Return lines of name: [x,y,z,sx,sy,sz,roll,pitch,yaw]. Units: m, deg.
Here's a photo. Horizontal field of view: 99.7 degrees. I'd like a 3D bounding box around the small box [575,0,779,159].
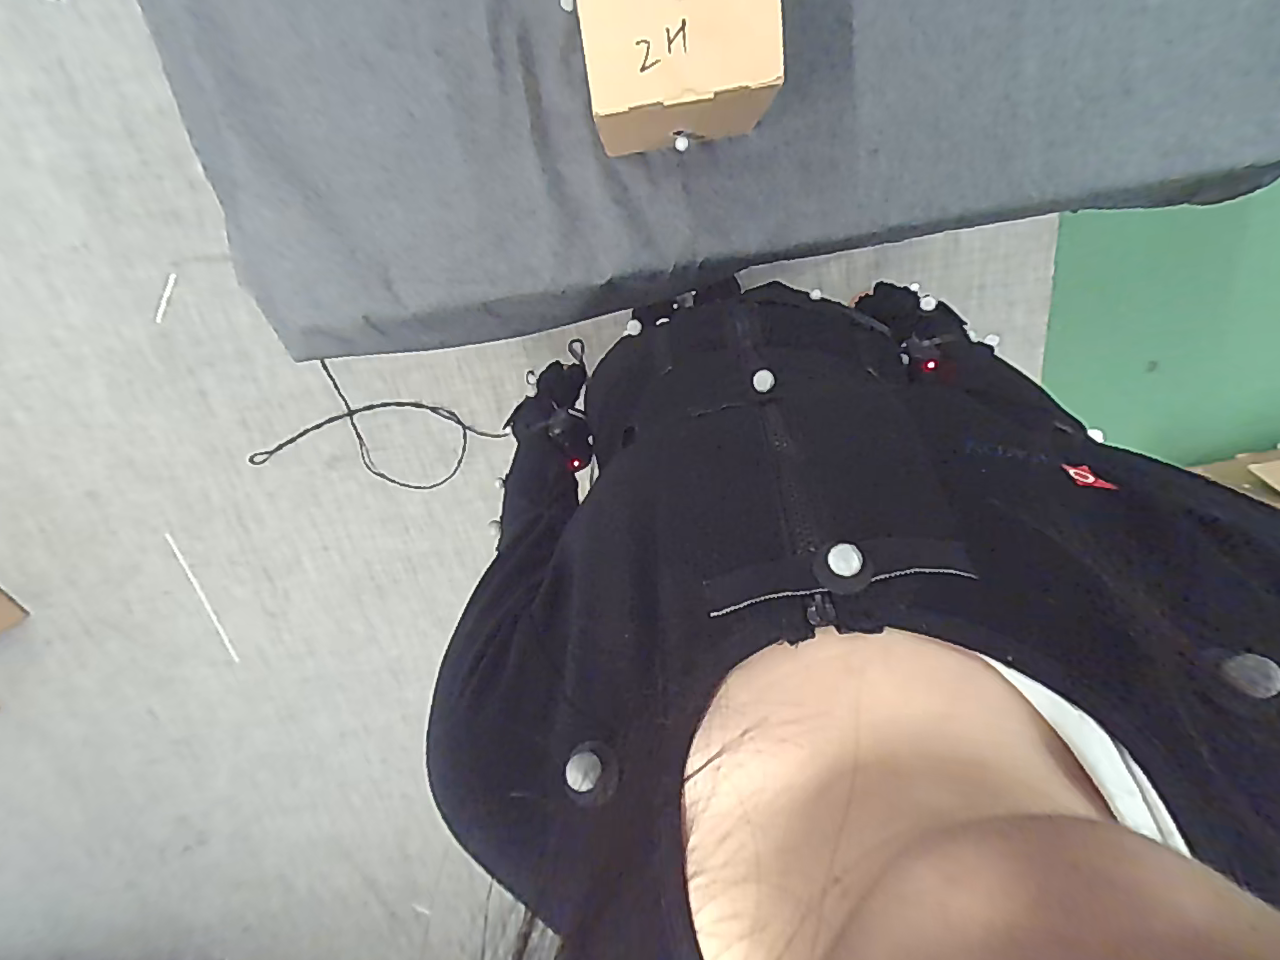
small box: [0.027,-0.429,0.509,0.168,0.176,0.179,-7,111,4]
